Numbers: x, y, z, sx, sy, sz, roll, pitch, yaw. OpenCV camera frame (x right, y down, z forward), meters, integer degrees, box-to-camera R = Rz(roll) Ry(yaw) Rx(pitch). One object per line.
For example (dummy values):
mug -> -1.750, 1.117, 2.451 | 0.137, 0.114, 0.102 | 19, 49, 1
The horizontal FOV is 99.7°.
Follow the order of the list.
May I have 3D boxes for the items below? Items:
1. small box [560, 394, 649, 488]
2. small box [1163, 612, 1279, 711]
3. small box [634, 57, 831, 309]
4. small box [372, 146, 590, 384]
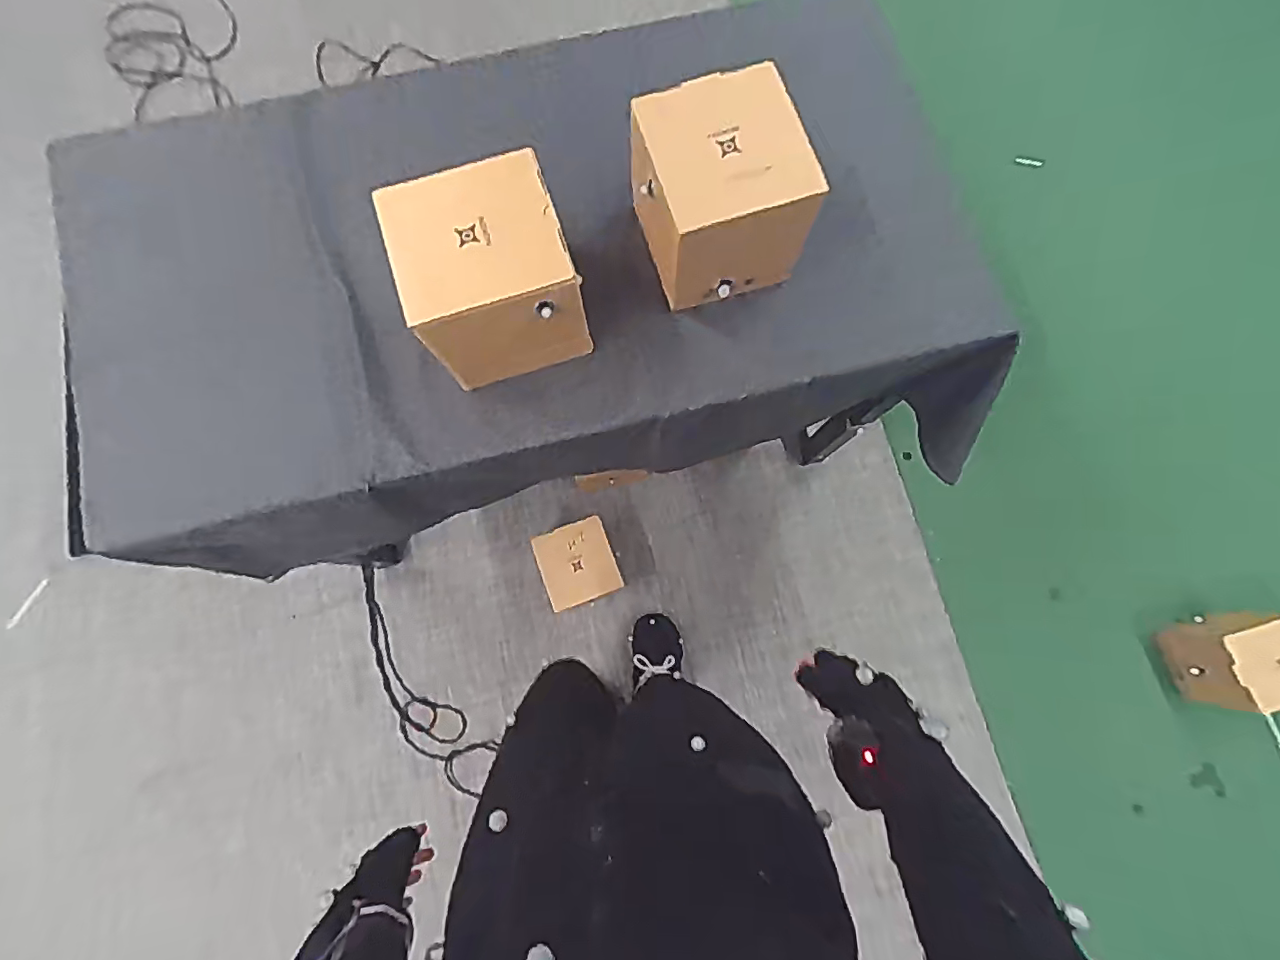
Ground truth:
small box -> -0.083, -0.090, 1.330 | 0.179, 0.176, 0.168 | -16, 79, -2
small box -> 1.352, 0.403, 1.224 | 0.179, 0.176, 0.168 | -15, 79, -2
small box -> 0.094, -0.336, 0.638 | 0.168, 0.176, 0.179 | -17, 79, -2
small box -> -0.168, -0.231, 0.620 | 0.179, 0.176, 0.168 | -18, 79, -4
